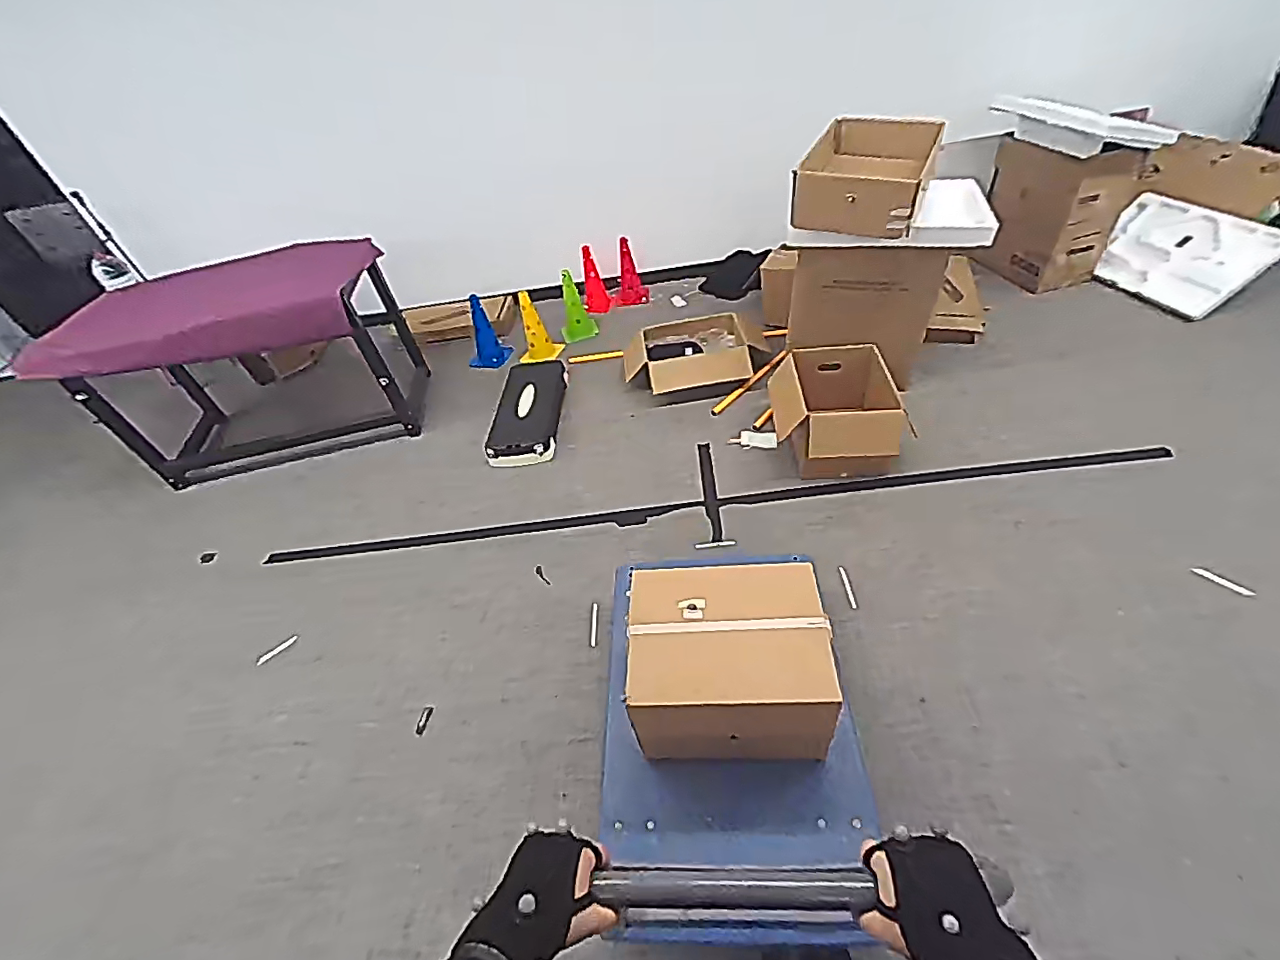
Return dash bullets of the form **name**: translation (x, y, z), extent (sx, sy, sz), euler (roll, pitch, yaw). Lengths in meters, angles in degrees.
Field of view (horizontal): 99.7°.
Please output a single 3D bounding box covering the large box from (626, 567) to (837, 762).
- **large box**: translation (0.196, 0.424, 1.227), extent (0.408, 0.320, 0.320), euler (-5, 44, 7)
